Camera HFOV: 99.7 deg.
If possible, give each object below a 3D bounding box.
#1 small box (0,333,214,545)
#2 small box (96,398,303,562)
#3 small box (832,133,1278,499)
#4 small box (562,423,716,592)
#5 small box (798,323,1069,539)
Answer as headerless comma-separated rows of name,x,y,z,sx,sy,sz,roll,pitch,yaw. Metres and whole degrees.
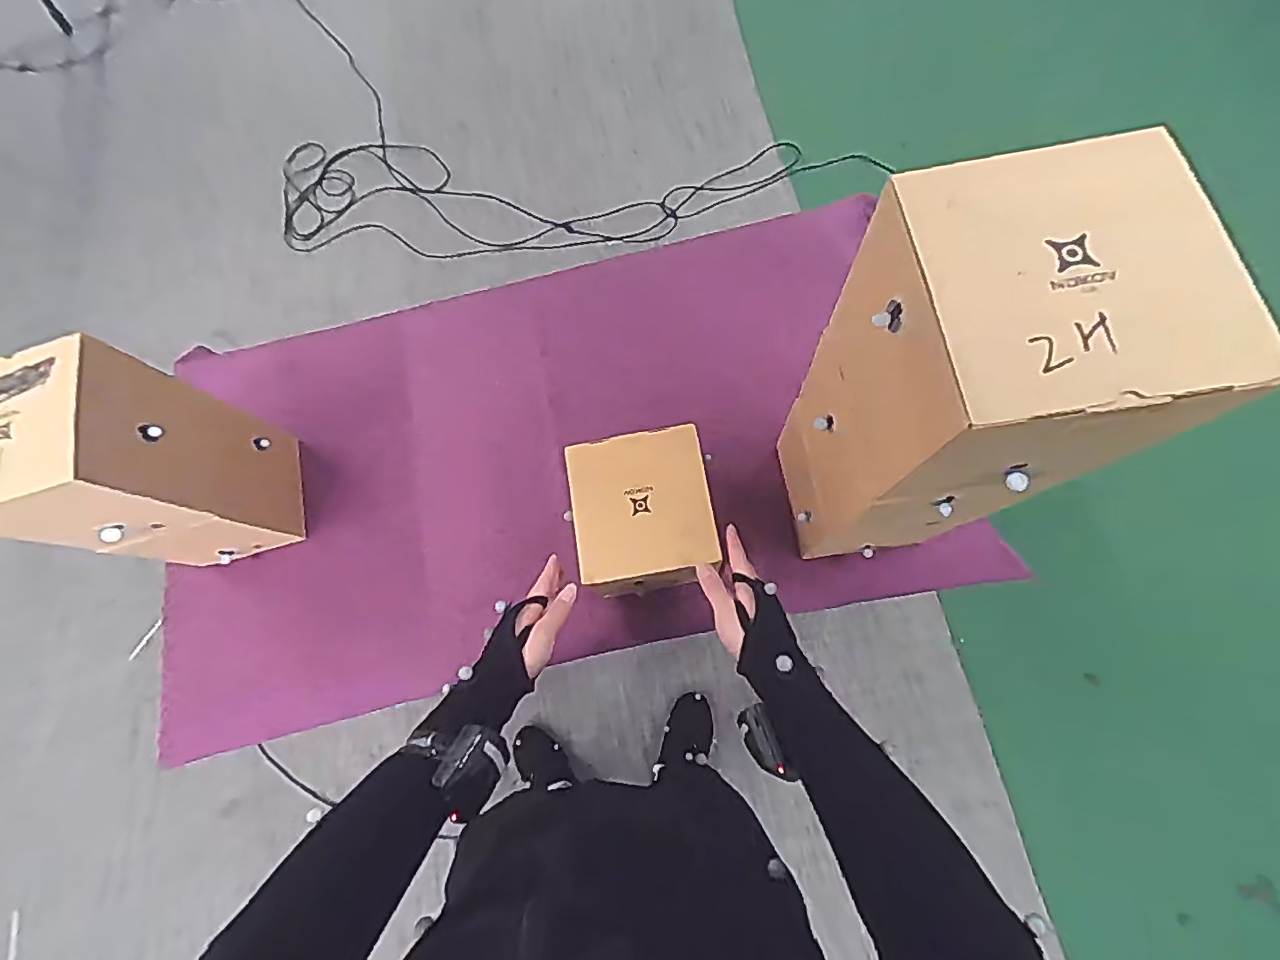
small box,-0.641,-0.037,0.631,0.168,0.176,0.179,-16,74,2
small box,-0.626,0.009,0.788,0.168,0.176,0.179,-15,74,1
small box,0.251,-0.098,0.387,0.168,0.176,0.179,-8,73,4
small box,0.005,0.048,0.716,0.168,0.176,0.179,-11,71,3
small box,0.267,-0.050,0.544,0.168,0.176,0.179,-9,72,4
